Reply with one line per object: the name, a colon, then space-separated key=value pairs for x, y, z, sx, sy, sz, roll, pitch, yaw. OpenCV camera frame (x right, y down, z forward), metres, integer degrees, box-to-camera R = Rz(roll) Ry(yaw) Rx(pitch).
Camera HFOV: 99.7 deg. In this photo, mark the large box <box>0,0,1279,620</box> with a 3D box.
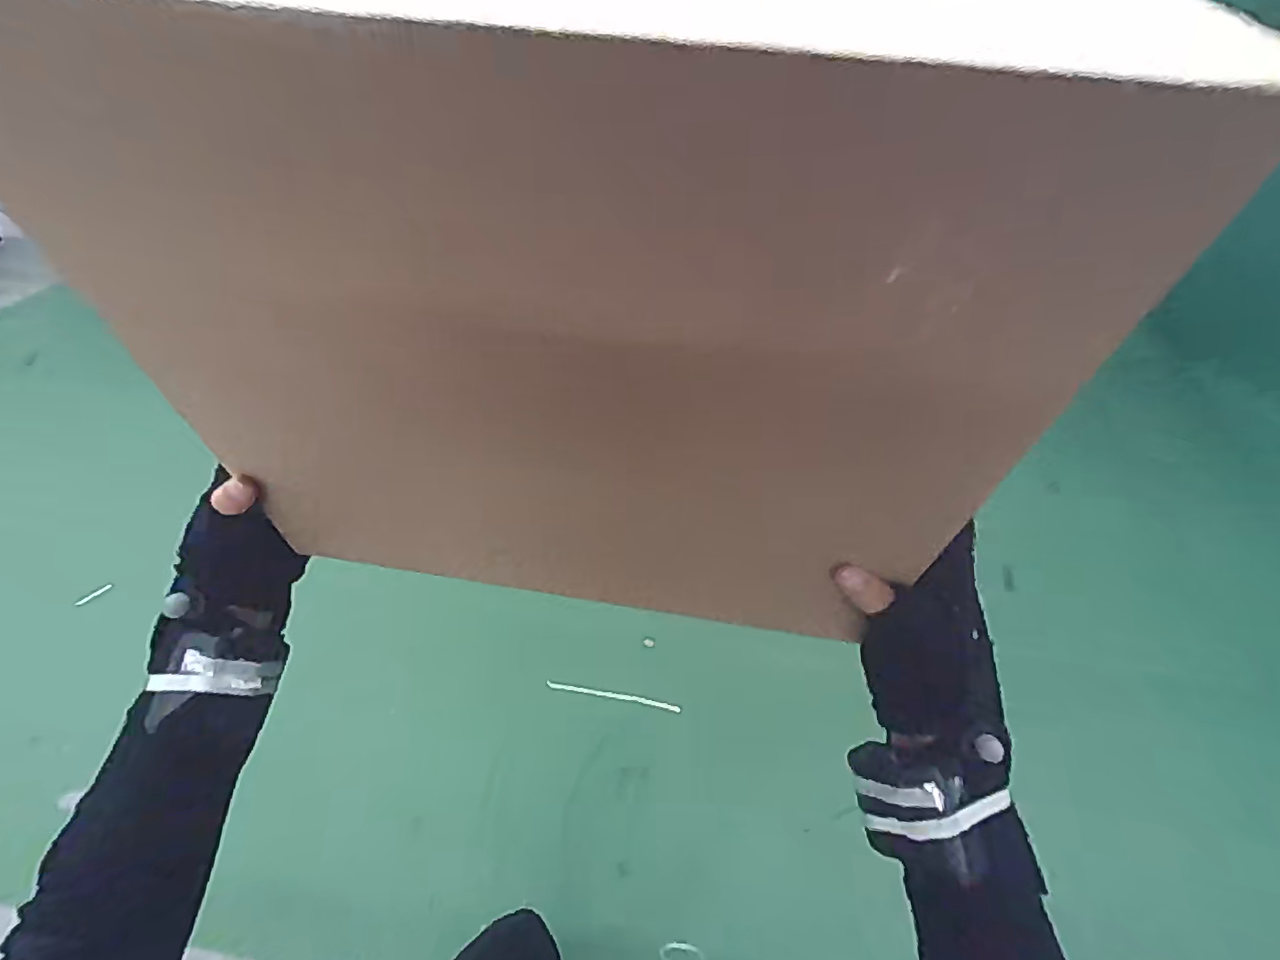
large box: x=-0.011 y=-0.135 z=0.362 sx=0.408 sy=0.320 sz=0.320 roll=9 pitch=51 yaw=2
